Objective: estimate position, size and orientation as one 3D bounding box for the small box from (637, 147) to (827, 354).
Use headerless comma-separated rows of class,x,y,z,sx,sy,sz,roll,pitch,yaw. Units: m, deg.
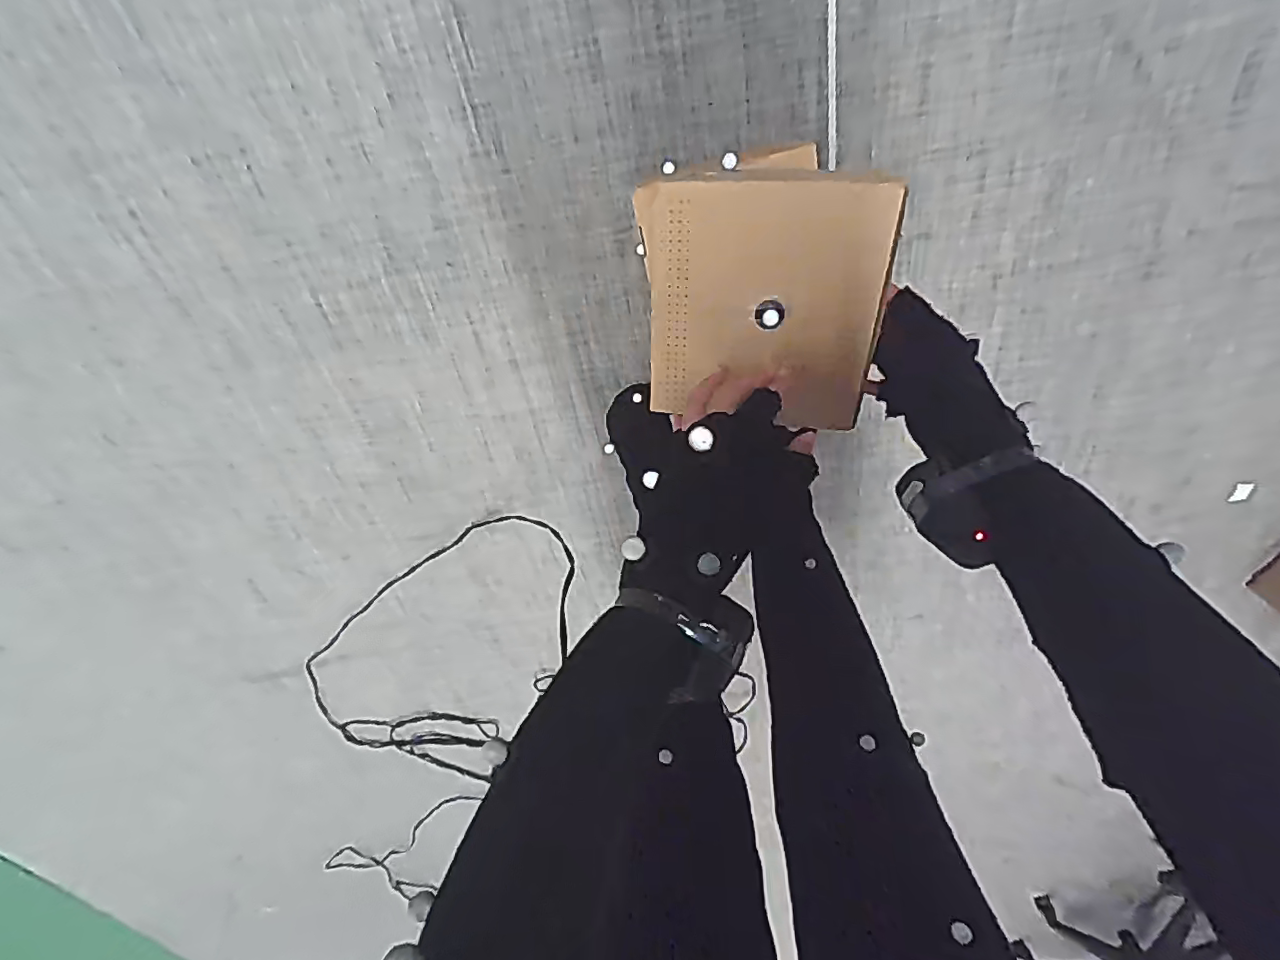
small box,0.099,-0.264,0.611,0.179,0.176,0.168,-10,121,9
